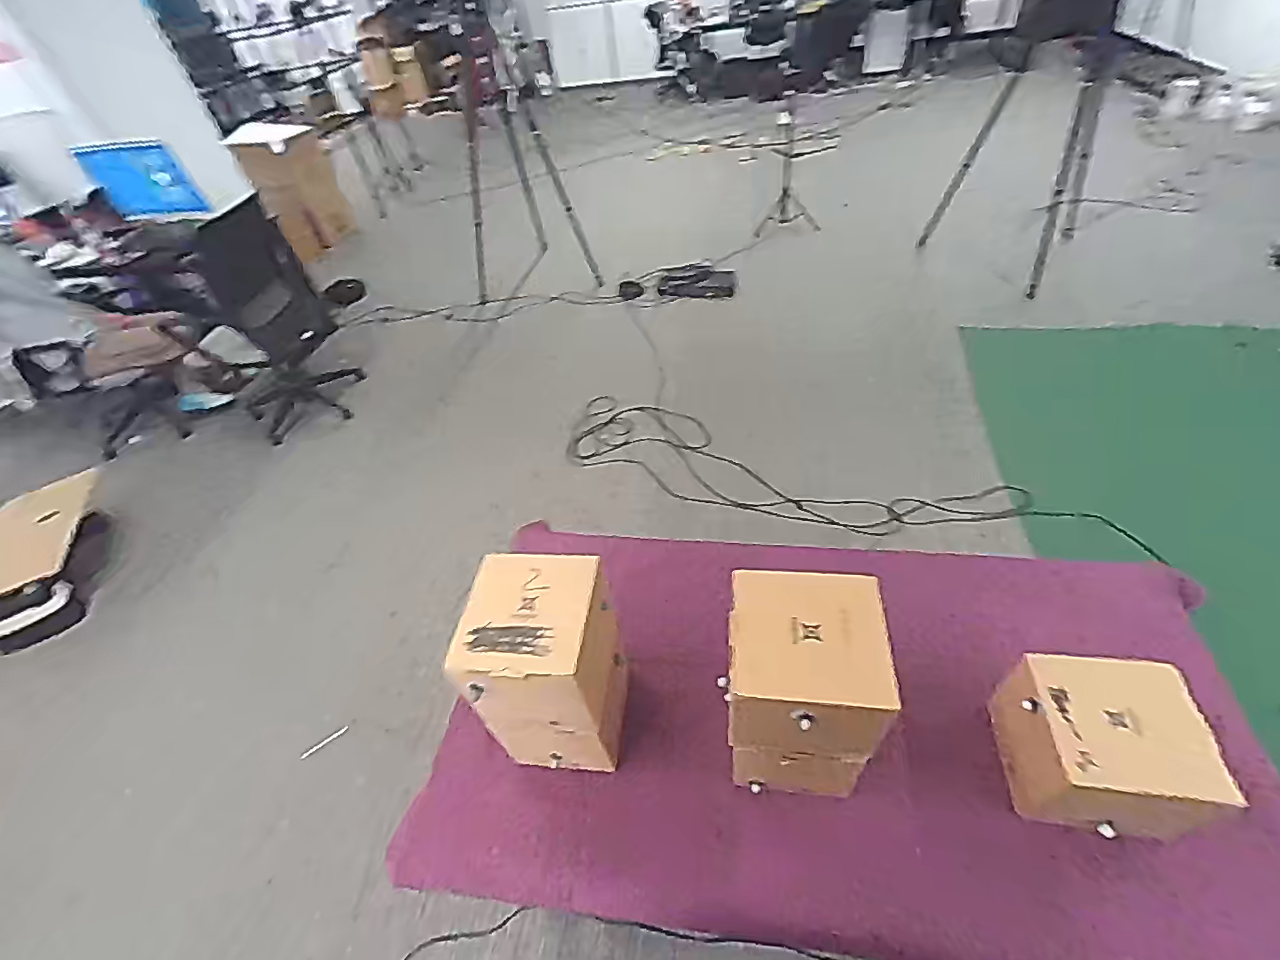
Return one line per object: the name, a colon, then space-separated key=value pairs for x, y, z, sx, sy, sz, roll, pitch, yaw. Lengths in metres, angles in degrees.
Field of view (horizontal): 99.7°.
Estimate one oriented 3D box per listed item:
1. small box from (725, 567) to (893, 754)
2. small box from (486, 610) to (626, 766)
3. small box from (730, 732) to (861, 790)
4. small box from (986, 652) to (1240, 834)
small box: x=0.200 y=0.229 z=0.684 sx=0.179 sy=0.176 sz=0.168 roll=2 pitch=47 yaw=11
small box: x=-0.120 y=0.332 z=0.865 sx=0.168 sy=0.176 sz=0.179 roll=0 pitch=47 yaw=10
small box: x=0.221 y=0.339 z=0.803 sx=0.168 sy=0.176 sz=0.179 roll=1 pitch=46 yaw=11
small box: x=0.603 y=0.353 z=0.723 sx=0.179 sy=0.176 sz=0.168 roll=2 pitch=46 yaw=12
